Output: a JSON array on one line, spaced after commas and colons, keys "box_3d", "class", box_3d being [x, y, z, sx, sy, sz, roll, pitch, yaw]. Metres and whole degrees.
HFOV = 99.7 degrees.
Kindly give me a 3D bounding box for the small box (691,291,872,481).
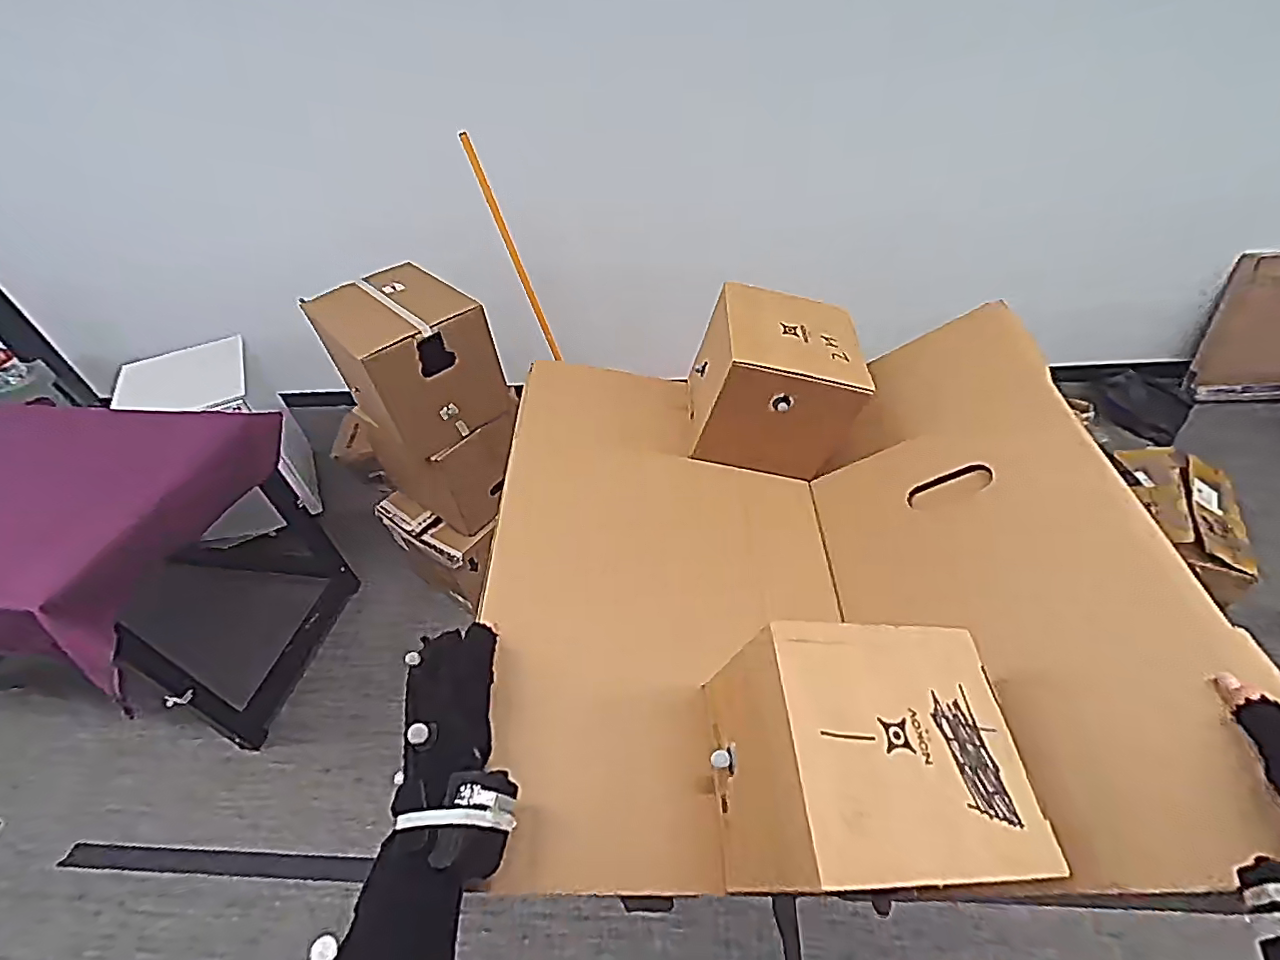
[{"box_3d": [0.170, -0.118, 0.717, 0.179, 0.176, 0.168, 11, 50, -8], "class": "small box"}]
